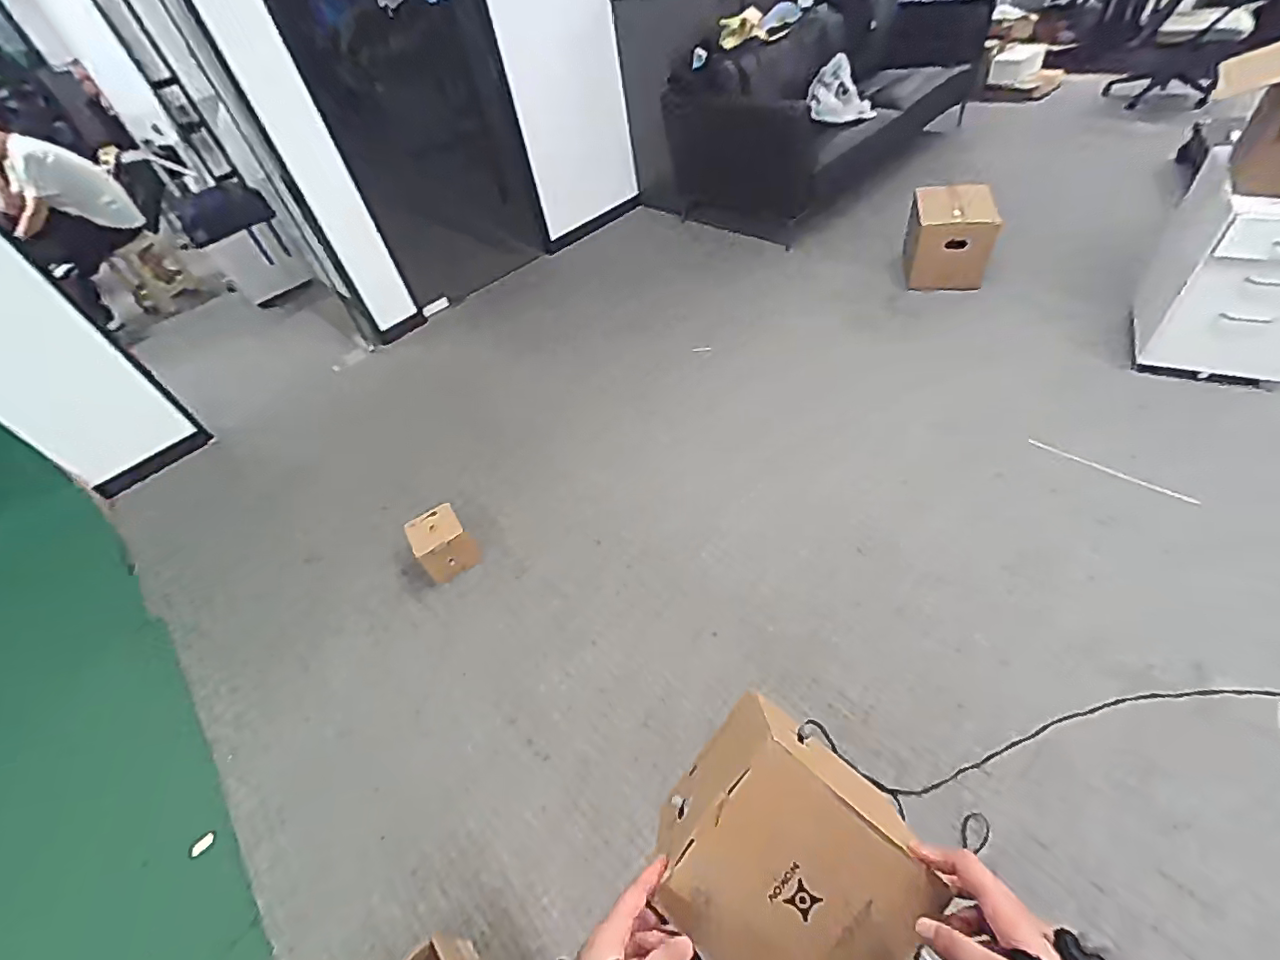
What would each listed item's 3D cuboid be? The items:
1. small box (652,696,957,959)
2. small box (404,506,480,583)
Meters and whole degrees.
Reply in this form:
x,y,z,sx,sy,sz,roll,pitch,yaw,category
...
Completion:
x,y,z,sx,sy,sz,roll,pitch,yaw,category
0.132,0.325,0.497,0.179,0.176,0.168,37,88,9,small box
-0.671,0.227,1.846,0.168,0.176,0.179,-29,50,-16,small box
